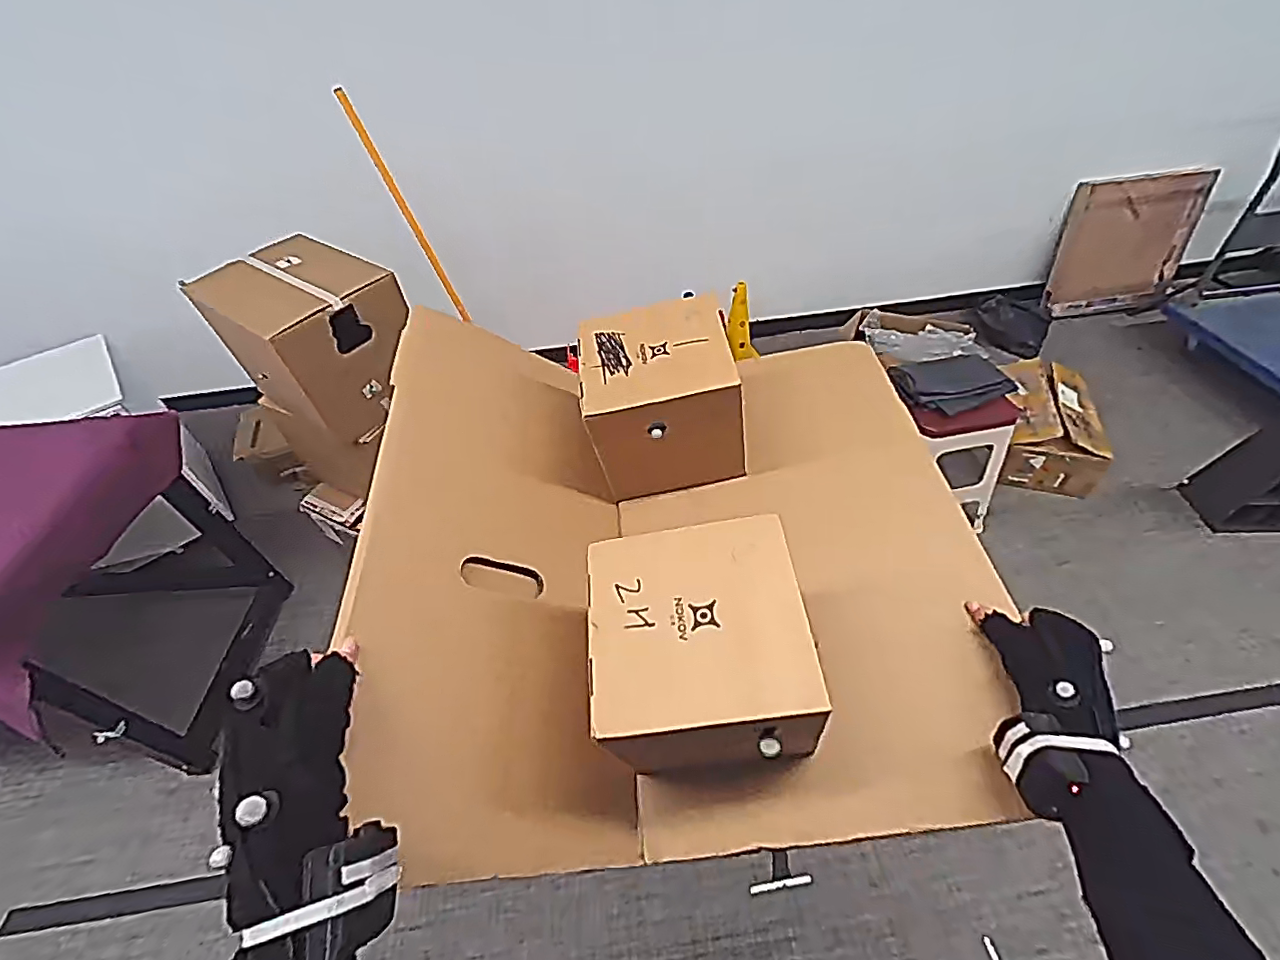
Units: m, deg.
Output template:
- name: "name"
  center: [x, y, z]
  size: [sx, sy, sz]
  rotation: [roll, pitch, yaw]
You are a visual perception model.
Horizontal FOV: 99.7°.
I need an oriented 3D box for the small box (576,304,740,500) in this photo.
- name: "small box"
  center: [0.025, -0.092, 0.698]
  size: [0.179, 0.176, 0.168]
  rotation: [-11, 53, 5]
